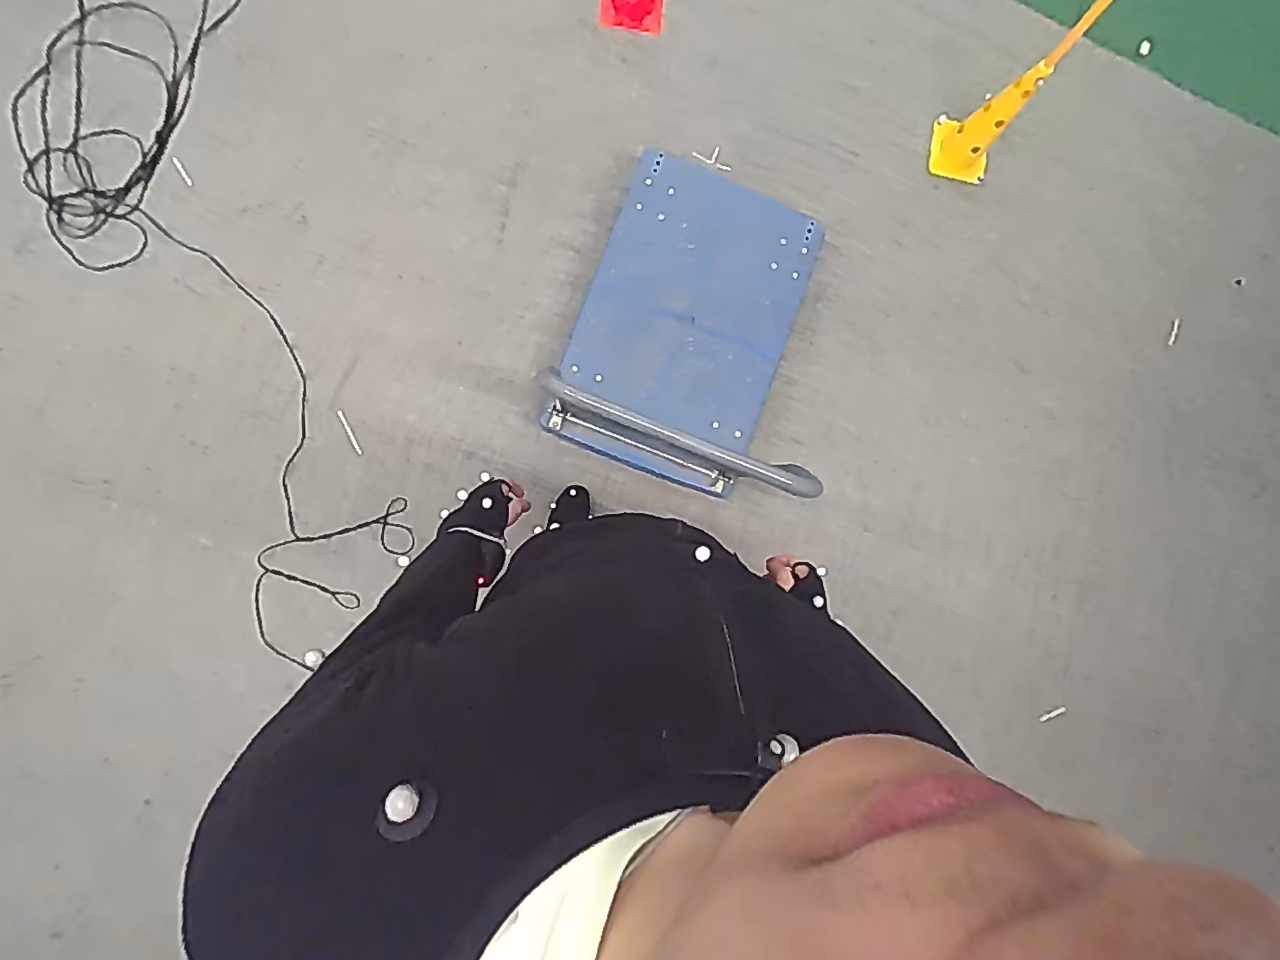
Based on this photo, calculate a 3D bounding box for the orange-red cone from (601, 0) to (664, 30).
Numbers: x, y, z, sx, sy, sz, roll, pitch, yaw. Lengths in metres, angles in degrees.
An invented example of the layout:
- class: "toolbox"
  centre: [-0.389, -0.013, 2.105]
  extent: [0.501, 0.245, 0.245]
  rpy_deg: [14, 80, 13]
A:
- class: "orange-red cone"
  centre: [-0.004, -1.542, 1.548]
  extent: [0.199, 0.360, 0.198]
  rpy_deg: [6, 86, -5]
